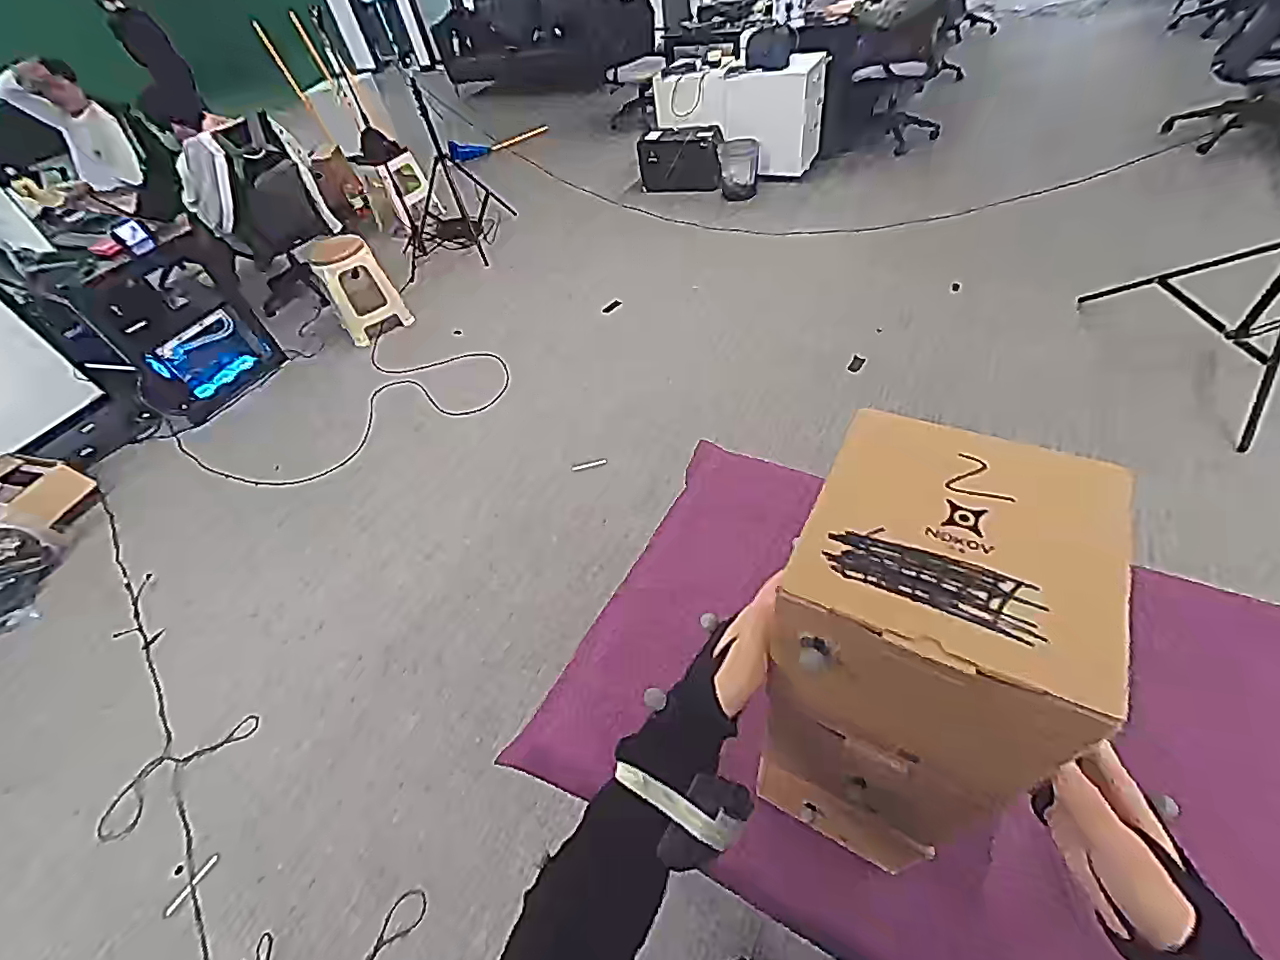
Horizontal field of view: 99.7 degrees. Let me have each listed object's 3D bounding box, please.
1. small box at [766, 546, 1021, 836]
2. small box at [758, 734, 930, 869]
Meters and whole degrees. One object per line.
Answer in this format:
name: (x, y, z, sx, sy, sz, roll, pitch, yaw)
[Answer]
small box: (0.226, 0.198, 0.509, 0.168, 0.176, 0.179, 18, 55, 24)
small box: (0.246, 0.311, 0.627, 0.168, 0.176, 0.179, 20, 54, 25)
